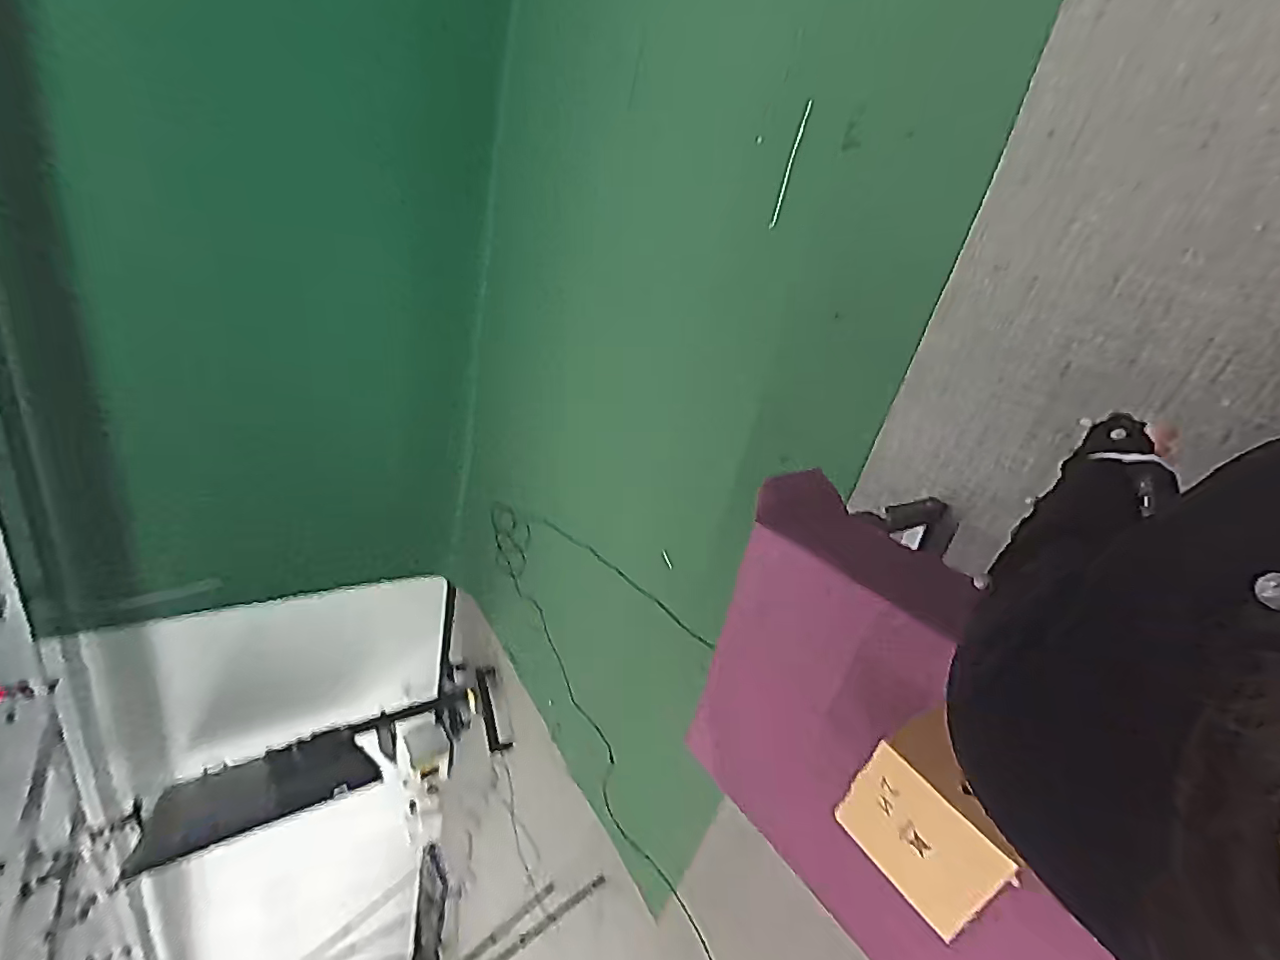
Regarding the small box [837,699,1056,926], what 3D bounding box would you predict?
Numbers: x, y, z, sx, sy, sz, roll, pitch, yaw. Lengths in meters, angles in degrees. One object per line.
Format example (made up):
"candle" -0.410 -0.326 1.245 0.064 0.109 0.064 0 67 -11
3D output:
"small box" 0.415 0.436 0.738 0.179 0.176 0.168 42 125 42
